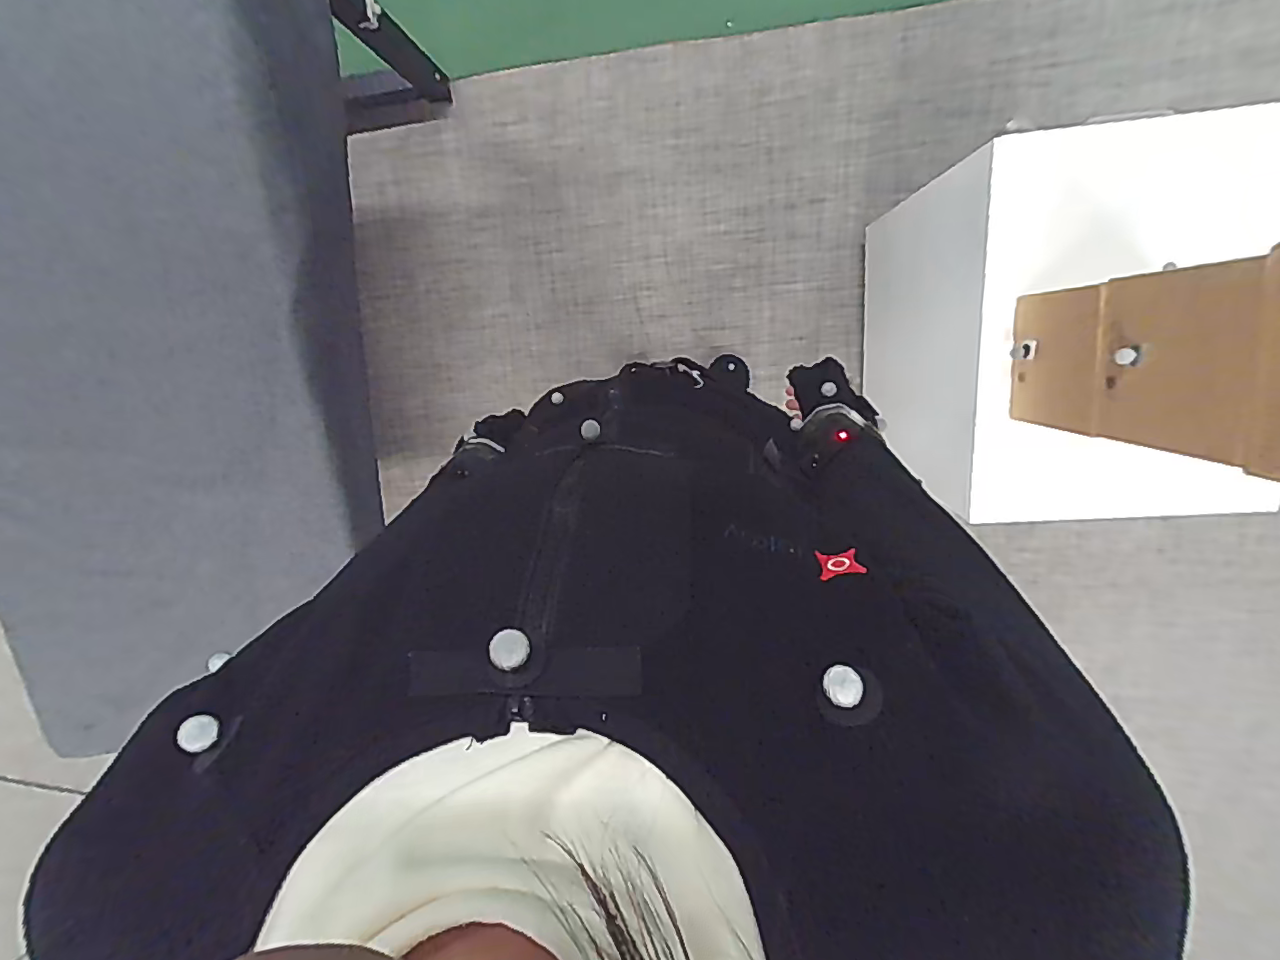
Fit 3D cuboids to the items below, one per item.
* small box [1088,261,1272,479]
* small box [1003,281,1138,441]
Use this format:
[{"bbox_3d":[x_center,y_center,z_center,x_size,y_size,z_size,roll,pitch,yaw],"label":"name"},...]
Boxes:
[{"bbox_3d":[0.554,-0.107,0.478,0.179,0.176,0.168,-7,103,7],"label":"small box"},{"bbox_3d":[0.569,-0.146,0.637,0.179,0.176,0.168,-4,103,9],"label":"small box"}]
